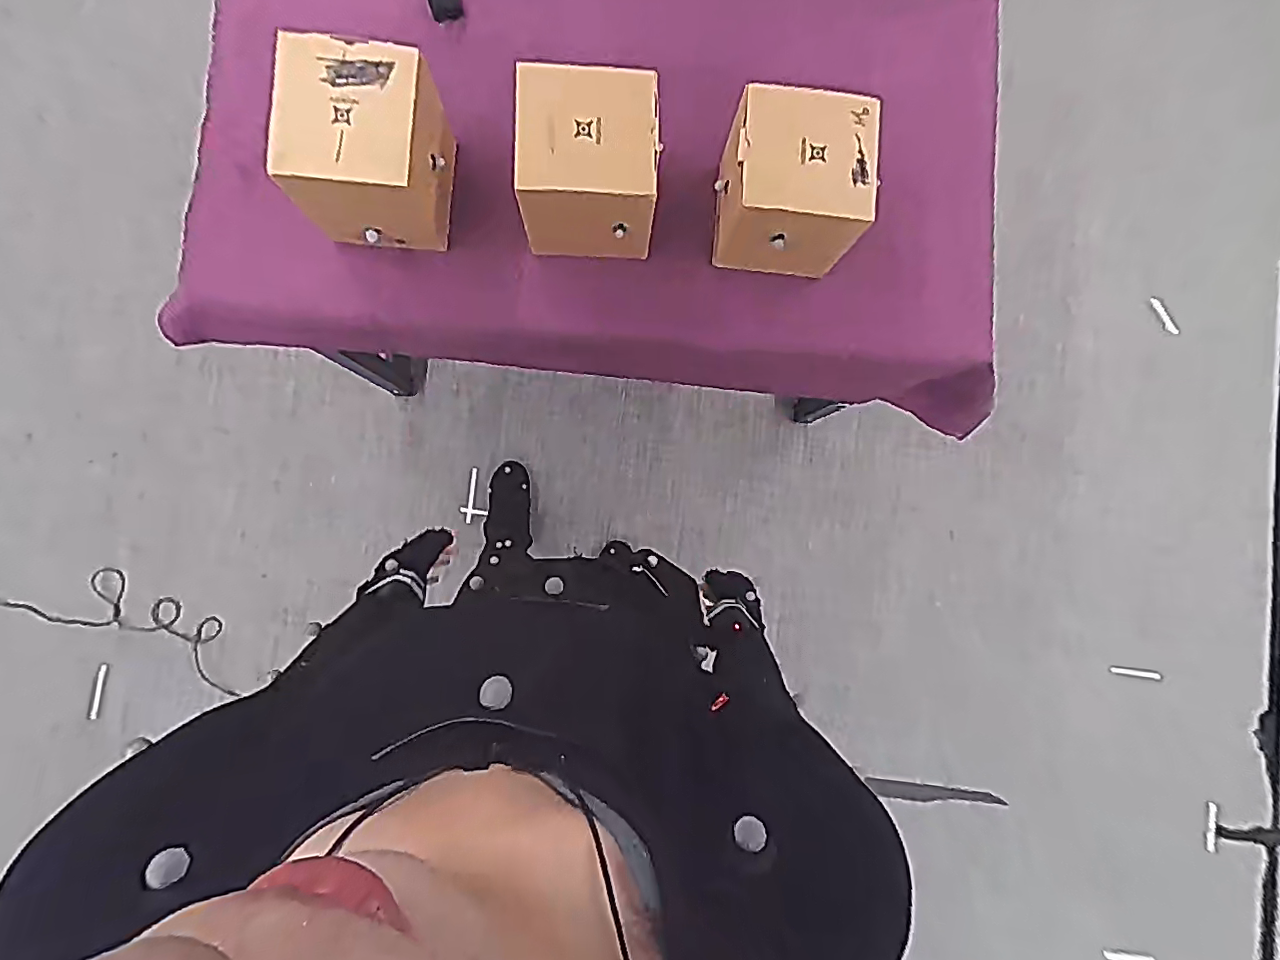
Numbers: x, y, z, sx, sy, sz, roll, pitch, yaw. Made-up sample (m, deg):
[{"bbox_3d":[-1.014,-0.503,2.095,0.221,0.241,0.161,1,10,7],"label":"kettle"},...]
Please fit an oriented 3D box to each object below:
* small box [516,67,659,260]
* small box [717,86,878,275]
[{"bbox_3d":[-0.069,-0.421,0.746,0.179,0.176,0.168,0,84,-3],"label":"small box"},{"bbox_3d":[0.210,-0.407,0.762,0.179,0.176,0.168,5,86,-3],"label":"small box"}]
